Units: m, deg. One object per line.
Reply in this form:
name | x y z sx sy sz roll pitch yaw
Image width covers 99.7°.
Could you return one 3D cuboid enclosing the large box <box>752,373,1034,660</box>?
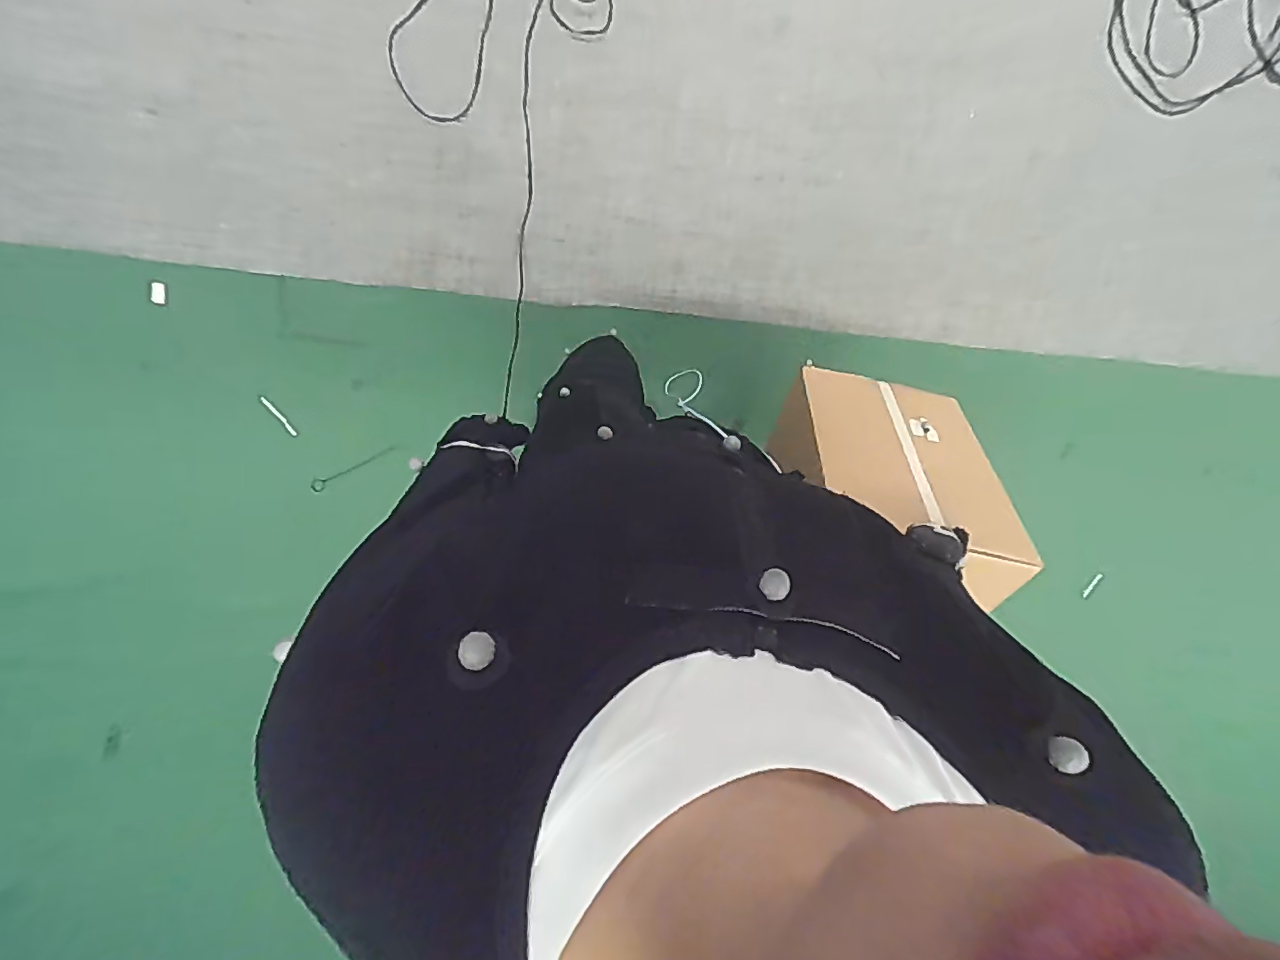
large box | 0.409 0.064 1.007 0.320 0.408 0.320 12 134 -3
